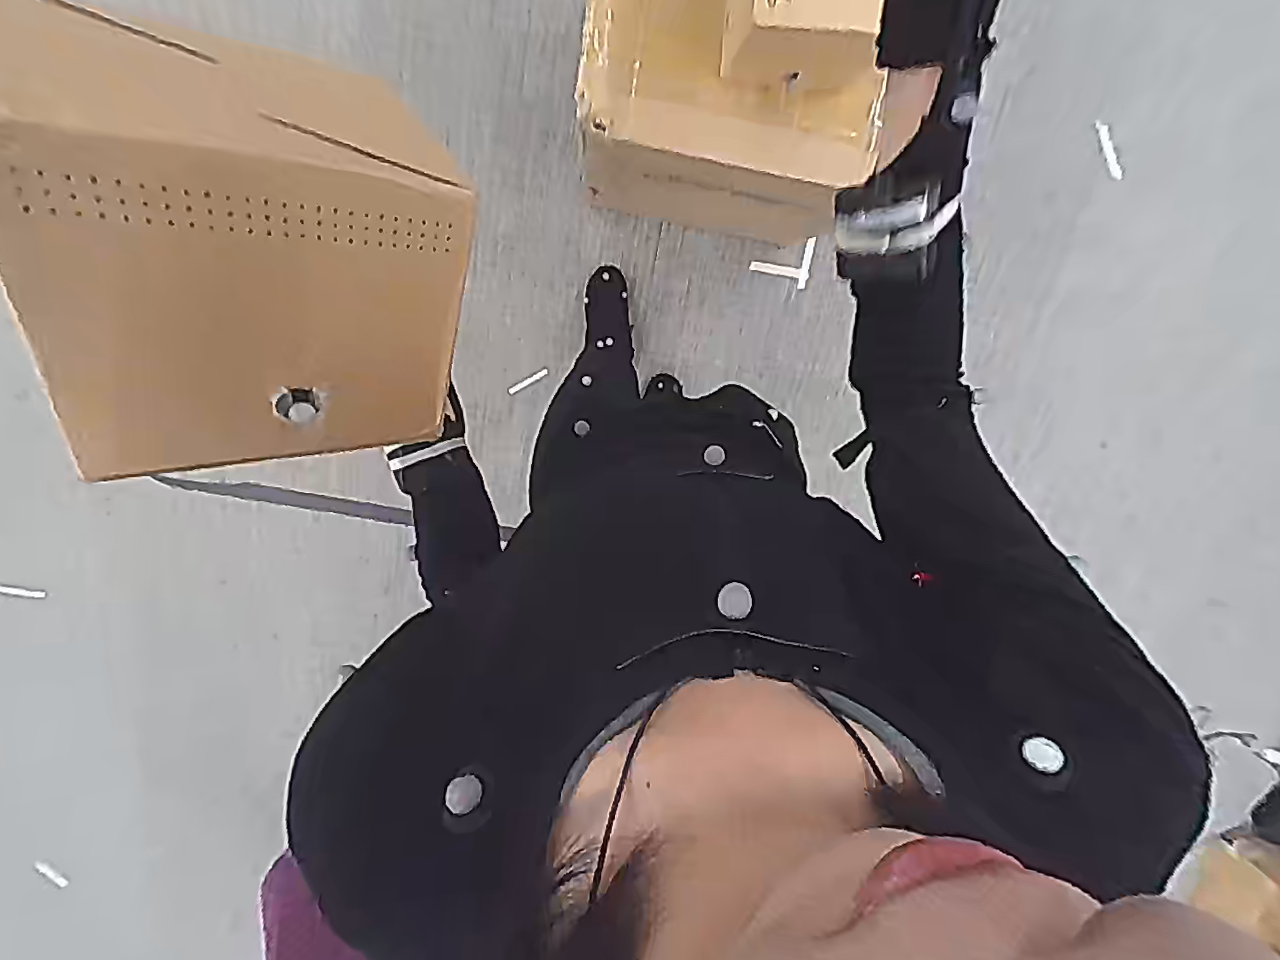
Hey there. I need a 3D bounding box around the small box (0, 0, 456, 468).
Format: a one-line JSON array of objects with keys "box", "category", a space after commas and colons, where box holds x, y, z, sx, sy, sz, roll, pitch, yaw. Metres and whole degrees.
[{"box": [-0.218, -0.132, 0.298, 0.179, 0.168, 0.176, -11, 141, -38], "category": "small box"}]

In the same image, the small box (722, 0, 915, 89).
[{"box": [0.205, -0.583, 0.631, 0.179, 0.176, 0.168, 1, 108, -4], "category": "small box"}]
